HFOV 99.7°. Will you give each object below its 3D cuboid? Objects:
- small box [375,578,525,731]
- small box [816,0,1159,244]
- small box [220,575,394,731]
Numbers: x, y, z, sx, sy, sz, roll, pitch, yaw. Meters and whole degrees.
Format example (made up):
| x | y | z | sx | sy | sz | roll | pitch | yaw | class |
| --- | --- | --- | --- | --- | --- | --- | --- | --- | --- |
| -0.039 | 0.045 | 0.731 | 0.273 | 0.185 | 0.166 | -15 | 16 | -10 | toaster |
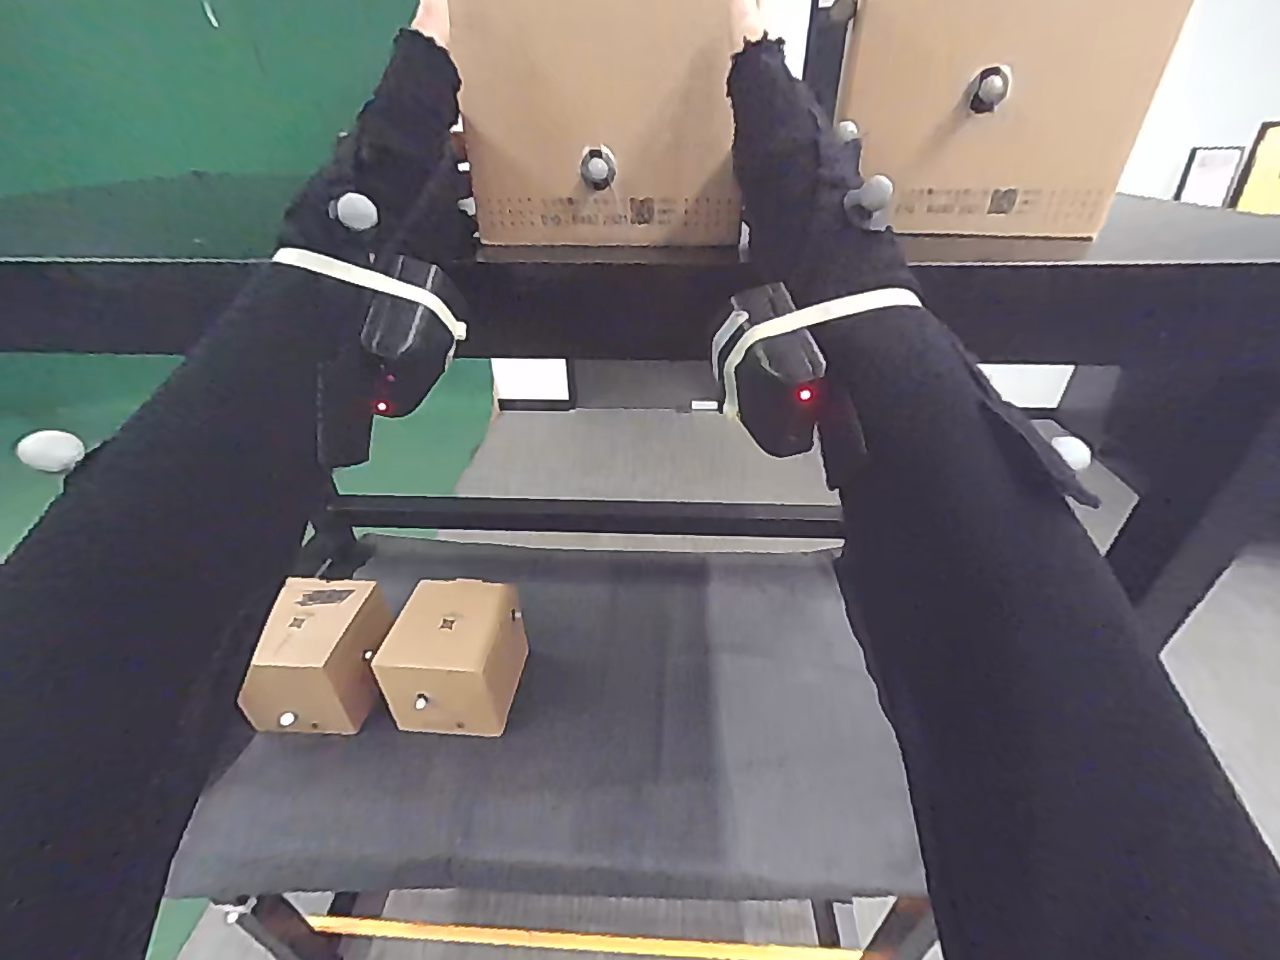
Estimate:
| x | y | z | sx | sy | sz | roll | pitch | yaw | class |
| --- | --- | --- | --- | --- | --- | --- | --- | --- | --- |
| -0.293 | 0.283 | 0.883 | 0.168 | 0.176 | 0.179 | 2 | 33 | 4 | small box |
| 0.229 | -0.277 | 0.397 | 0.168 | 0.176 | 0.179 | 8 | 34 | 12 | small box |
| -0.521 | 0.279 | 0.885 | 0.168 | 0.176 | 0.179 | 2 | 34 | 2 | small box |
